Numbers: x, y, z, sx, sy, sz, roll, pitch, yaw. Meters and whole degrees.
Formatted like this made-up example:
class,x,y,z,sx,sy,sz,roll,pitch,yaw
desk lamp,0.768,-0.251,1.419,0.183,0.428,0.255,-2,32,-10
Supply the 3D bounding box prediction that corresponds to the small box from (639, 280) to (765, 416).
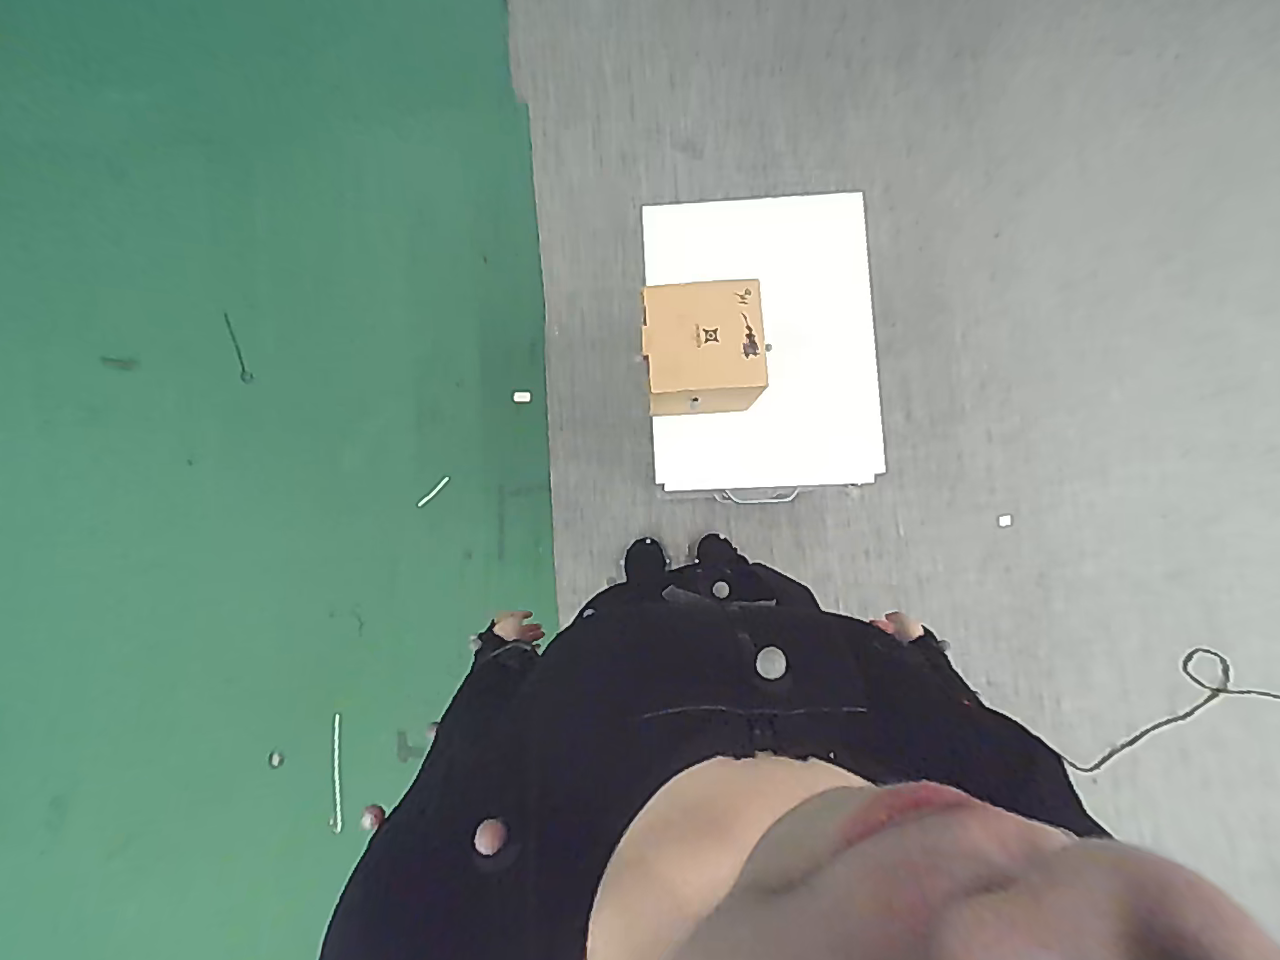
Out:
class,x,y,z,sx,sy,sz,roll,pitch,yaw
small box,0.093,-0.202,0.869,0.179,0.176,0.168,-4,84,0
